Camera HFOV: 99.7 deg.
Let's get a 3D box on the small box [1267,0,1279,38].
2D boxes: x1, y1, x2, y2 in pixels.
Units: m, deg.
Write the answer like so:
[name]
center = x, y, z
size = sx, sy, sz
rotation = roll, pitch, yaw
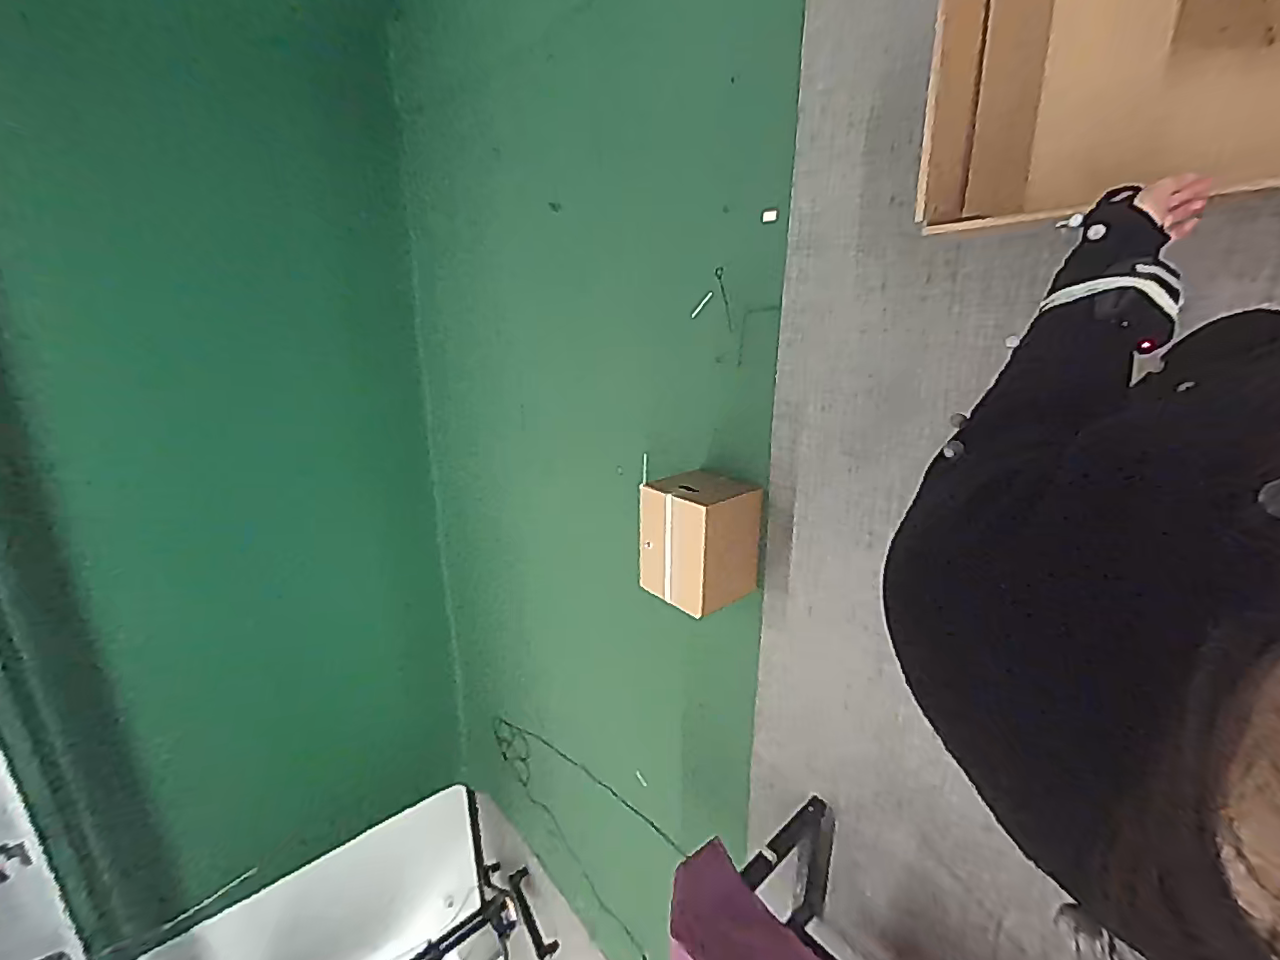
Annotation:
[small box]
center = 0.728, -0.561, 0.504
size = 0.168, 0.176, 0.179
rotation = 17, 114, 47
